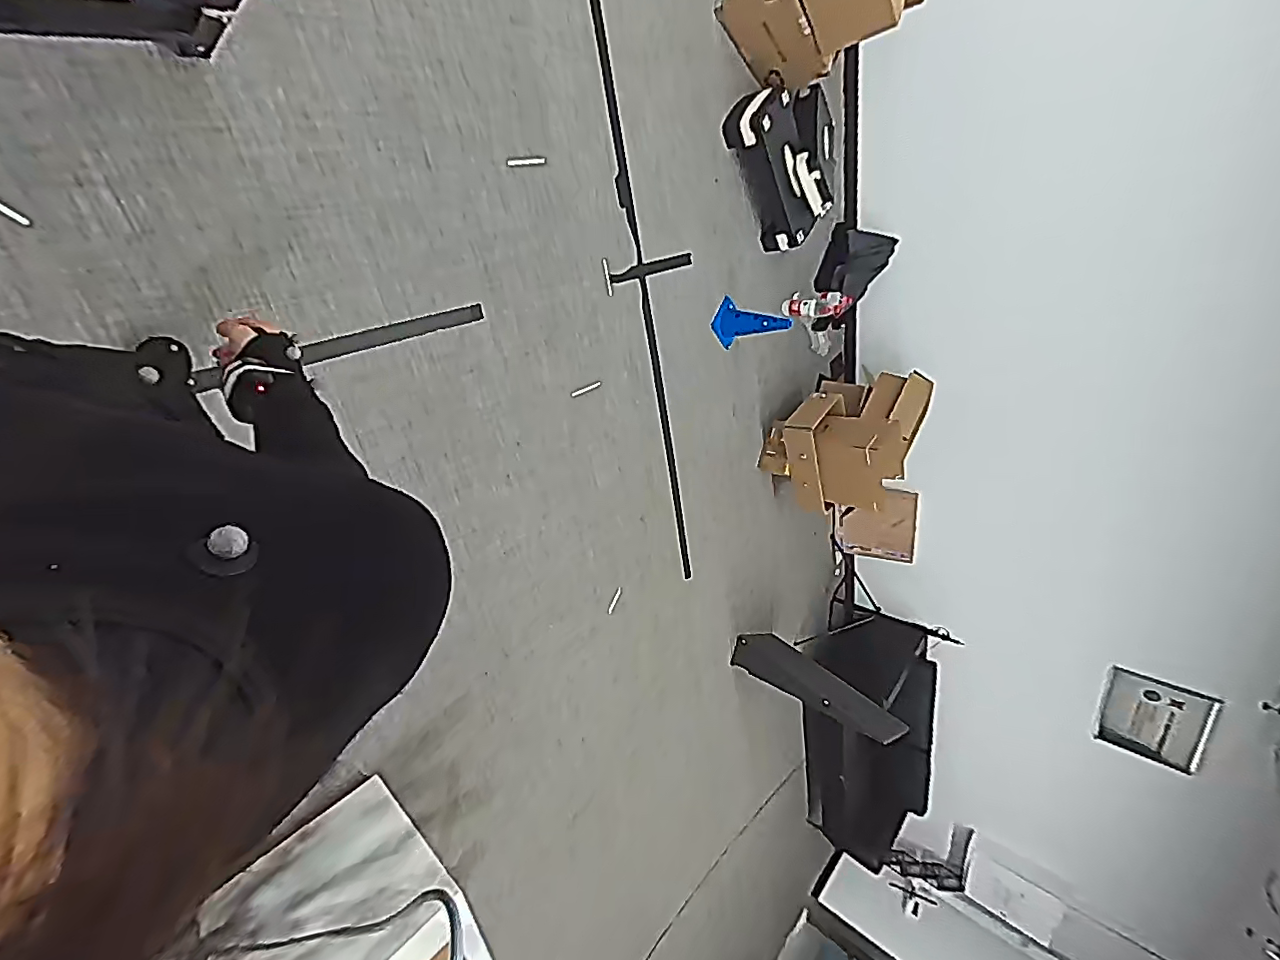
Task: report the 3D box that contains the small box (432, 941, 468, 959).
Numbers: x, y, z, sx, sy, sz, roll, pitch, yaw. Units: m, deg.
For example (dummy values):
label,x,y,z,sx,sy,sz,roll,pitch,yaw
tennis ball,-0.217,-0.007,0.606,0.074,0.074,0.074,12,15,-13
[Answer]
label,x,y,z,sx,sy,sz,roll,pitch,yaw
small box,-0.487,1.322,1.349,0.179,0.176,0.168,-27,120,-39
